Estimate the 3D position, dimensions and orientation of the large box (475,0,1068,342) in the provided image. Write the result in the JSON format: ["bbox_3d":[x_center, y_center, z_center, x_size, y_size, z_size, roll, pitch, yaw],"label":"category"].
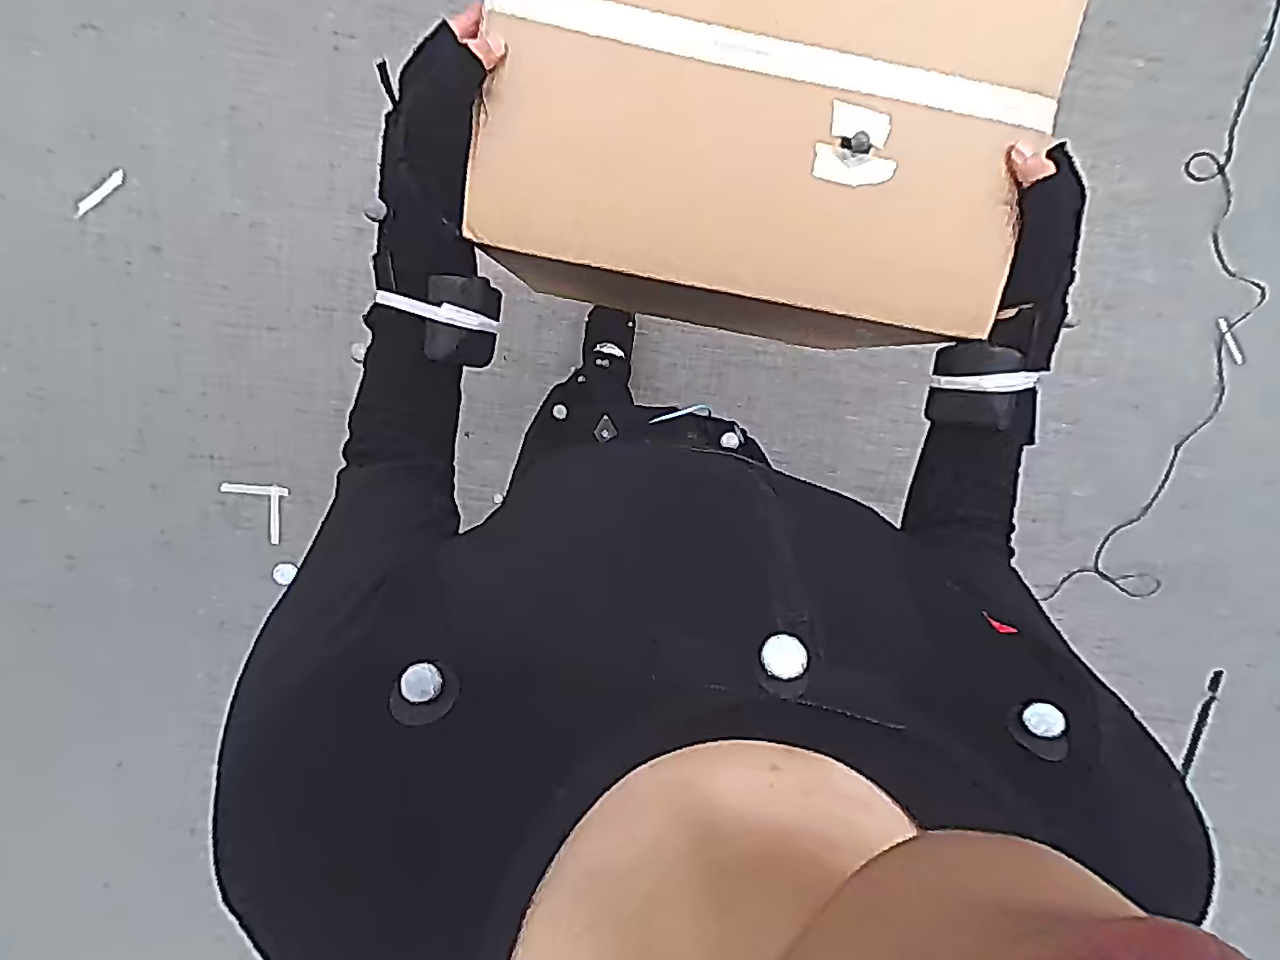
[{"bbox_3d":[0.087,-0.328,0.531,0.408,0.320,0.320,9,103,-4],"label":"large box"}]
